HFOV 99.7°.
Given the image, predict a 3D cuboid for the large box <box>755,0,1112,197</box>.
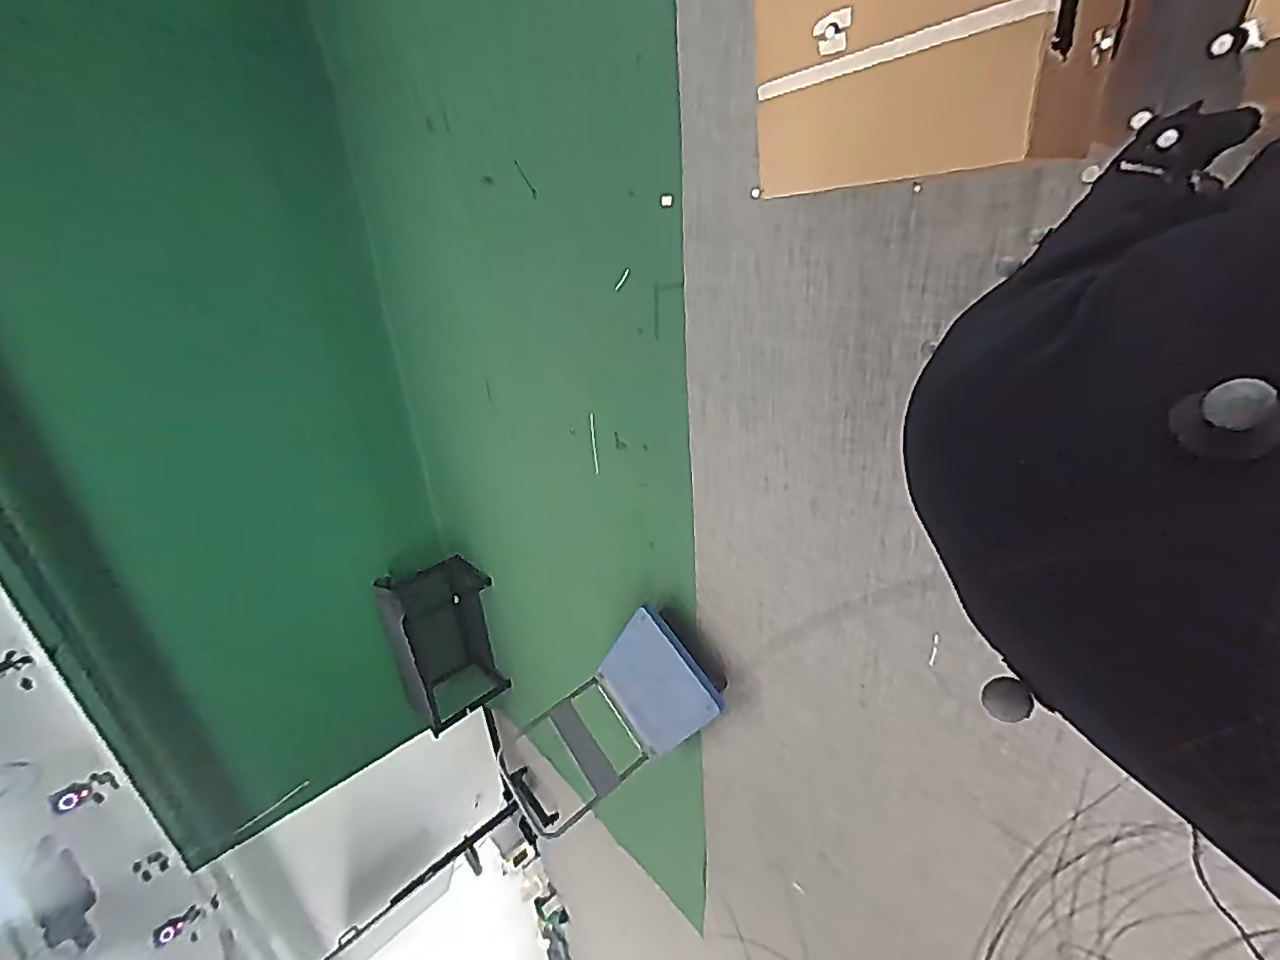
[{"bbox_3d":[0.439,-0.649,0.837,0.408,0.320,0.320,20,126,45],"label":"large box"}]
